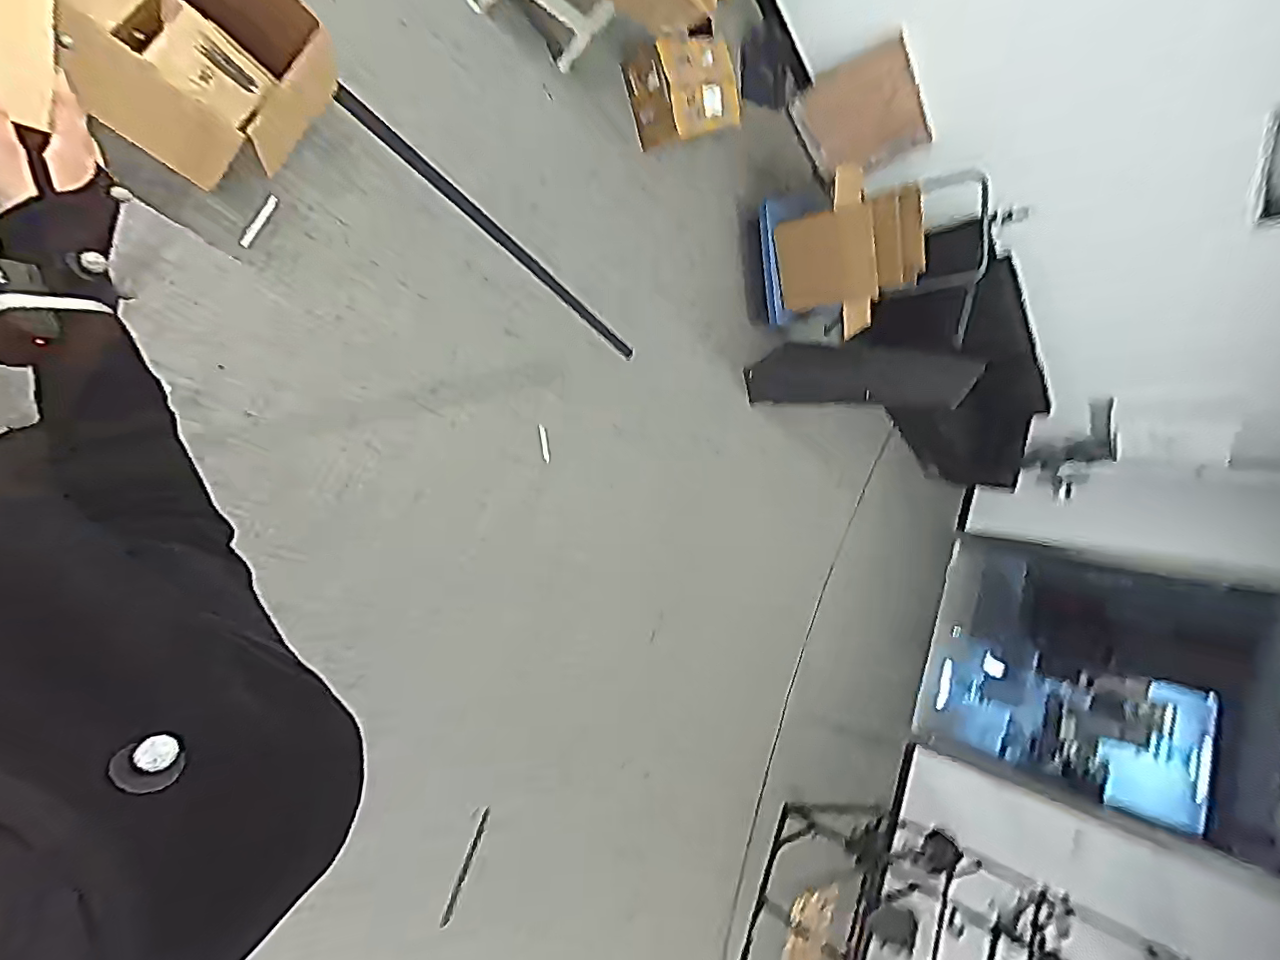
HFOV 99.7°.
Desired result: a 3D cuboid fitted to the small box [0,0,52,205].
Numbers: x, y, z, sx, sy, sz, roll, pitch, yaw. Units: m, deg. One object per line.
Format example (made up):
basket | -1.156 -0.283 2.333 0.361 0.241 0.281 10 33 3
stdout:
small box | -0.586 -0.355 0.421 0.168 0.176 0.179 -3 89 -49
